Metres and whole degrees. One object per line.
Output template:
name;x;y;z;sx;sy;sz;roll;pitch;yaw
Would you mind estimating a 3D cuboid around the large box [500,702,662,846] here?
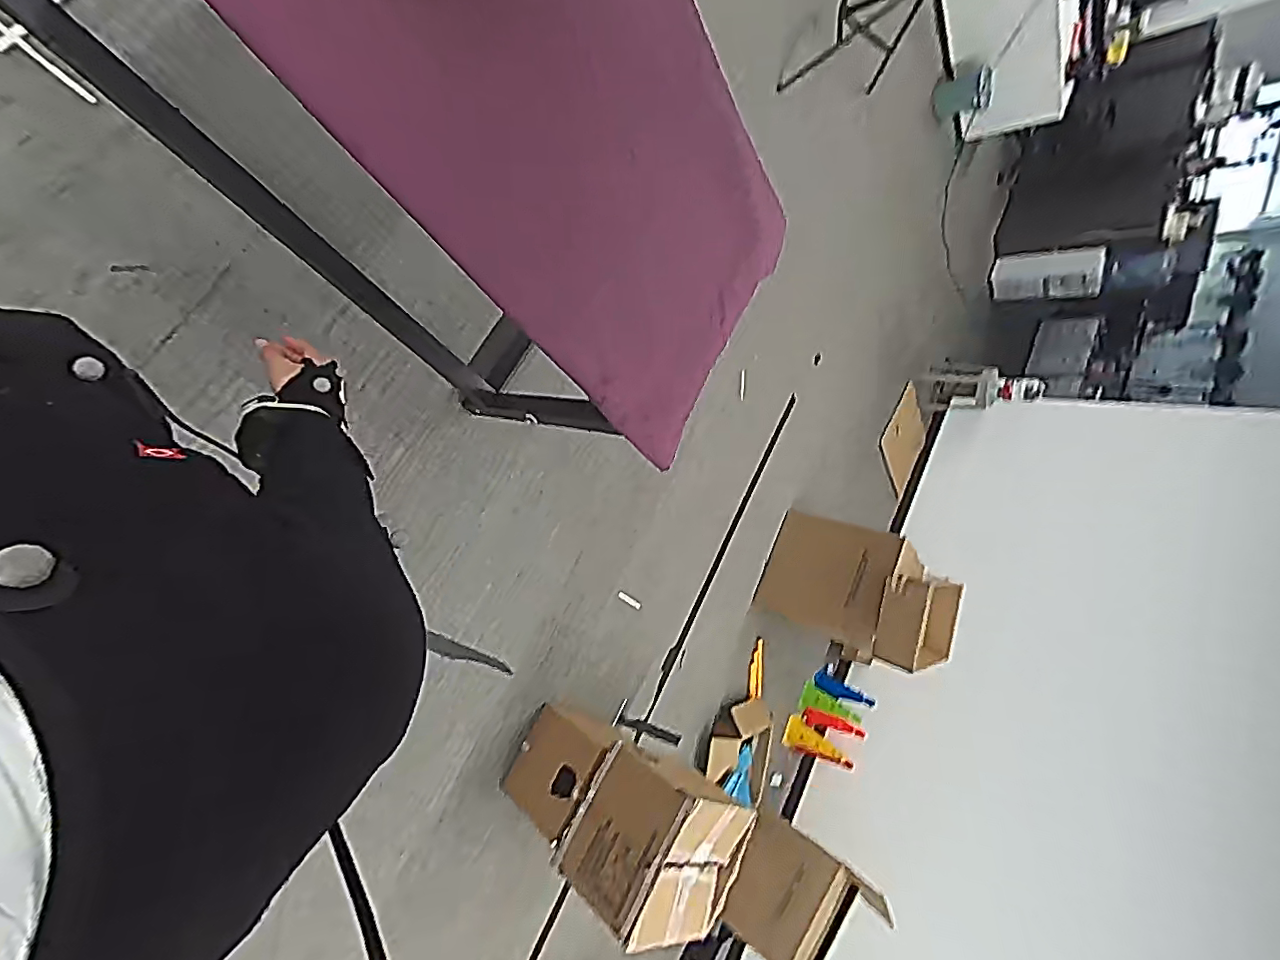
large box;-0.200;1.027;1.895;0.408;0.320;0.320;42;69;-42
